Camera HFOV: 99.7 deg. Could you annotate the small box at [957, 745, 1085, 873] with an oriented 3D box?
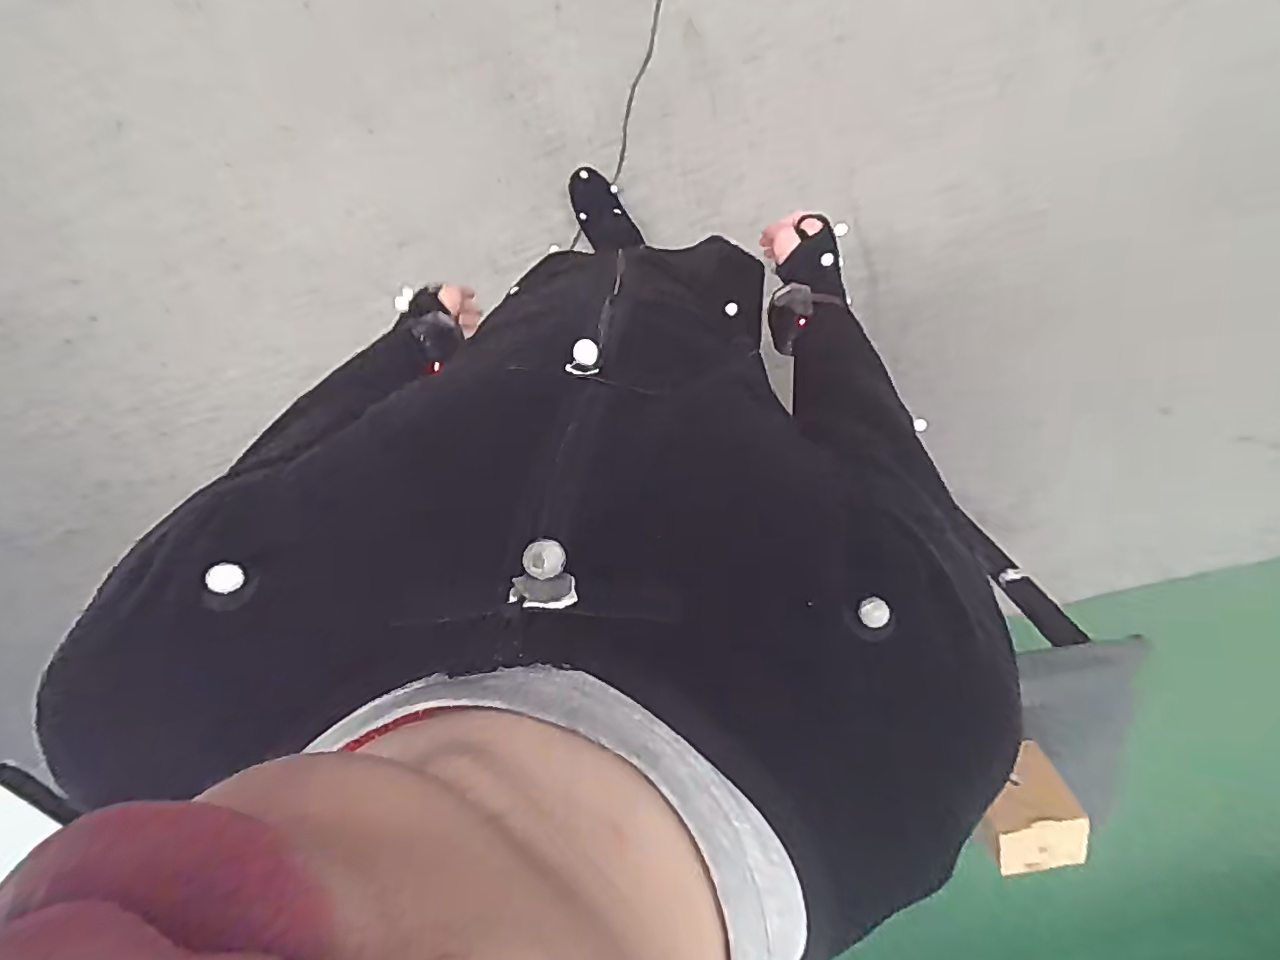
[{"bbox_3d":[0.804,0.693,1.156,0.168,0.176,0.179,-17,117,10],"label":"small box"}]
